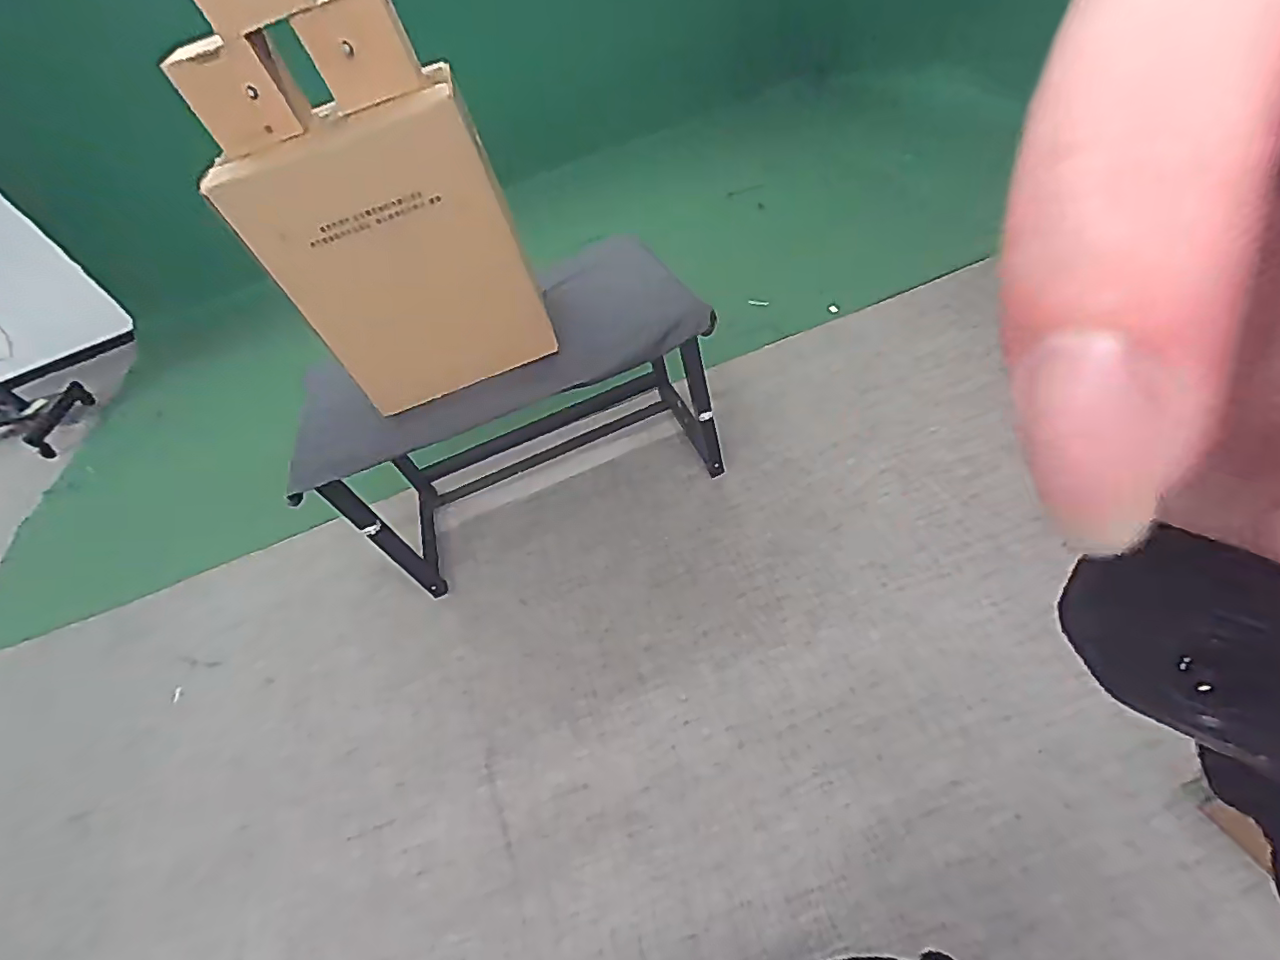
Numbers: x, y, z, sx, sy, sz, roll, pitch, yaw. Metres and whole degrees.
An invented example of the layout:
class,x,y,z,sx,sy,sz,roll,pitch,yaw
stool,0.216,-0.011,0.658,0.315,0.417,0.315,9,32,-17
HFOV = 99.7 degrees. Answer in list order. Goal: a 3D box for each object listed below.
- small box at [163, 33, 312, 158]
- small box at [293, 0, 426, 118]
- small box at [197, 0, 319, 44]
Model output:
class,x,y,z,sx,sy,sz,roll,pitch,yaw
small box,-0.807,-0.788,1.109,0.168,0.176,0.179,-20,48,-3
small box,-0.568,-0.882,1.117,0.179,0.176,0.168,-21,50,0
small box,-0.725,-0.937,0.989,0.179,0.176,0.168,-23,49,-1
